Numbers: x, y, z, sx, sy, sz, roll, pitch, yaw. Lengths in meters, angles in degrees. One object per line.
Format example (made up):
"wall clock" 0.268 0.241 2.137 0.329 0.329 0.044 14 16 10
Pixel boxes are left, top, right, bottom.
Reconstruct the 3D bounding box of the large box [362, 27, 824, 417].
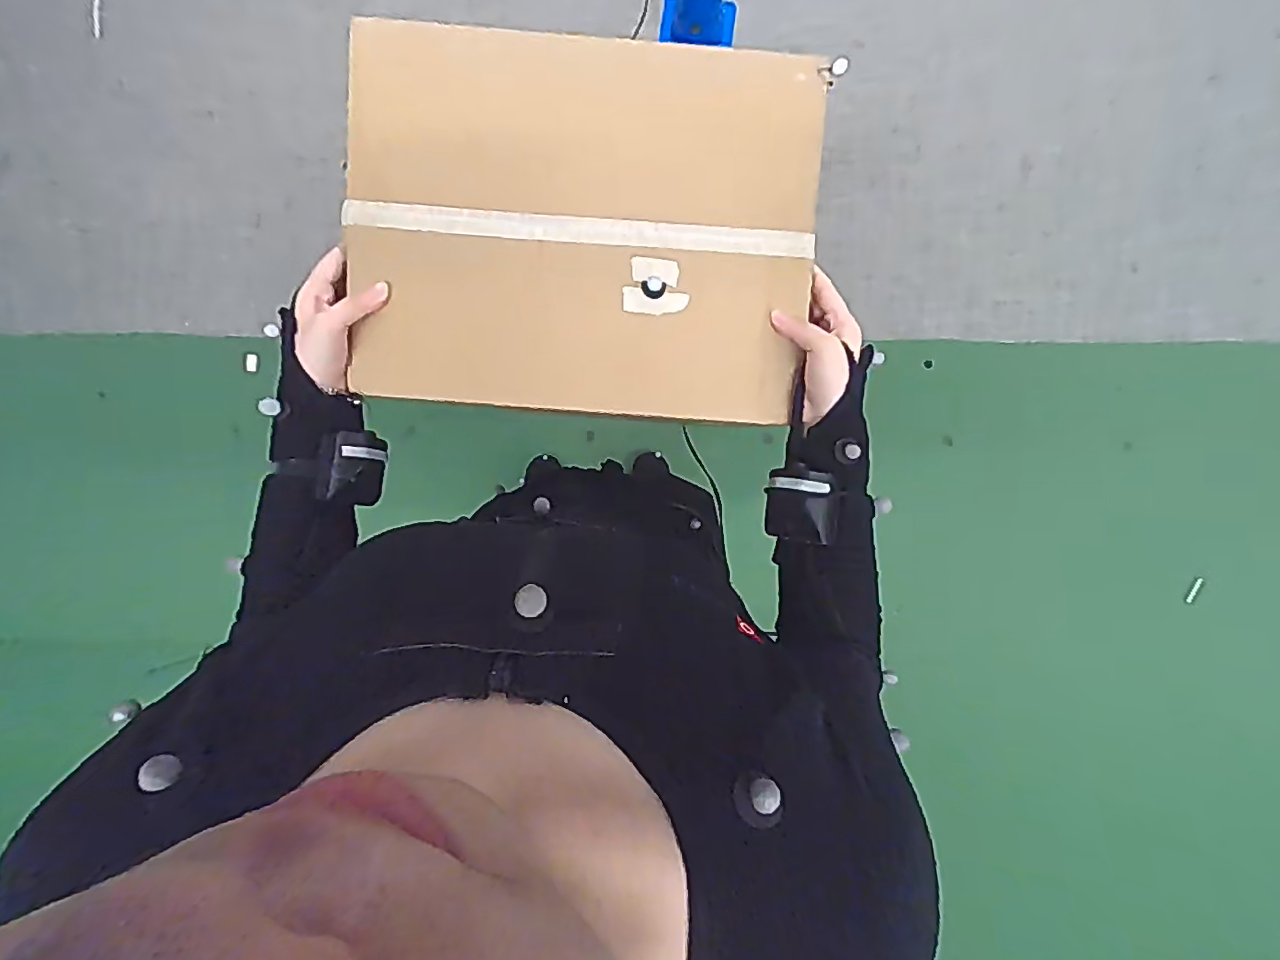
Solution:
"large box" -0.050 -0.238 0.627 0.408 0.320 0.320 4 97 -2

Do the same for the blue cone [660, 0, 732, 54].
"blue cone" 0.152 -1.209 1.318 0.193 0.380 0.192 10 92 0
